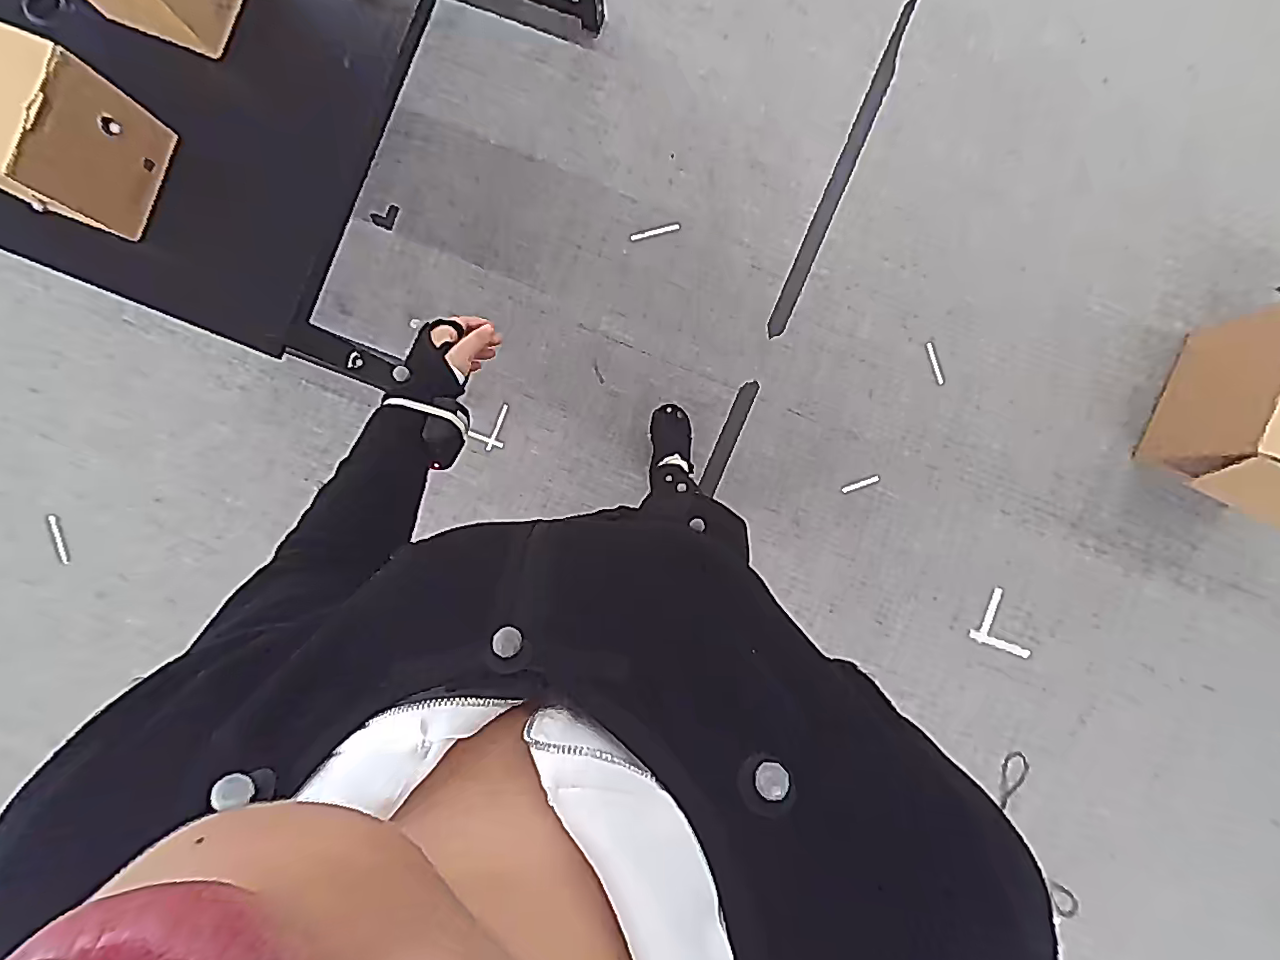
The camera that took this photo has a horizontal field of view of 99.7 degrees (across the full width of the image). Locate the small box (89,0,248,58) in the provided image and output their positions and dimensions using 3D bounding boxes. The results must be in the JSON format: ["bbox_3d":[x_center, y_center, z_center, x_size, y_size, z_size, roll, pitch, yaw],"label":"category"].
[{"bbox_3d":[-0.659,-0.708,0.705,0.179,0.176,0.168,21,89,-1],"label":"small box"}]

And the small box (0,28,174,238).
[{"bbox_3d":[-0.773,-0.445,0.700,0.179,0.176,0.168,20,88,1],"label":"small box"}]
